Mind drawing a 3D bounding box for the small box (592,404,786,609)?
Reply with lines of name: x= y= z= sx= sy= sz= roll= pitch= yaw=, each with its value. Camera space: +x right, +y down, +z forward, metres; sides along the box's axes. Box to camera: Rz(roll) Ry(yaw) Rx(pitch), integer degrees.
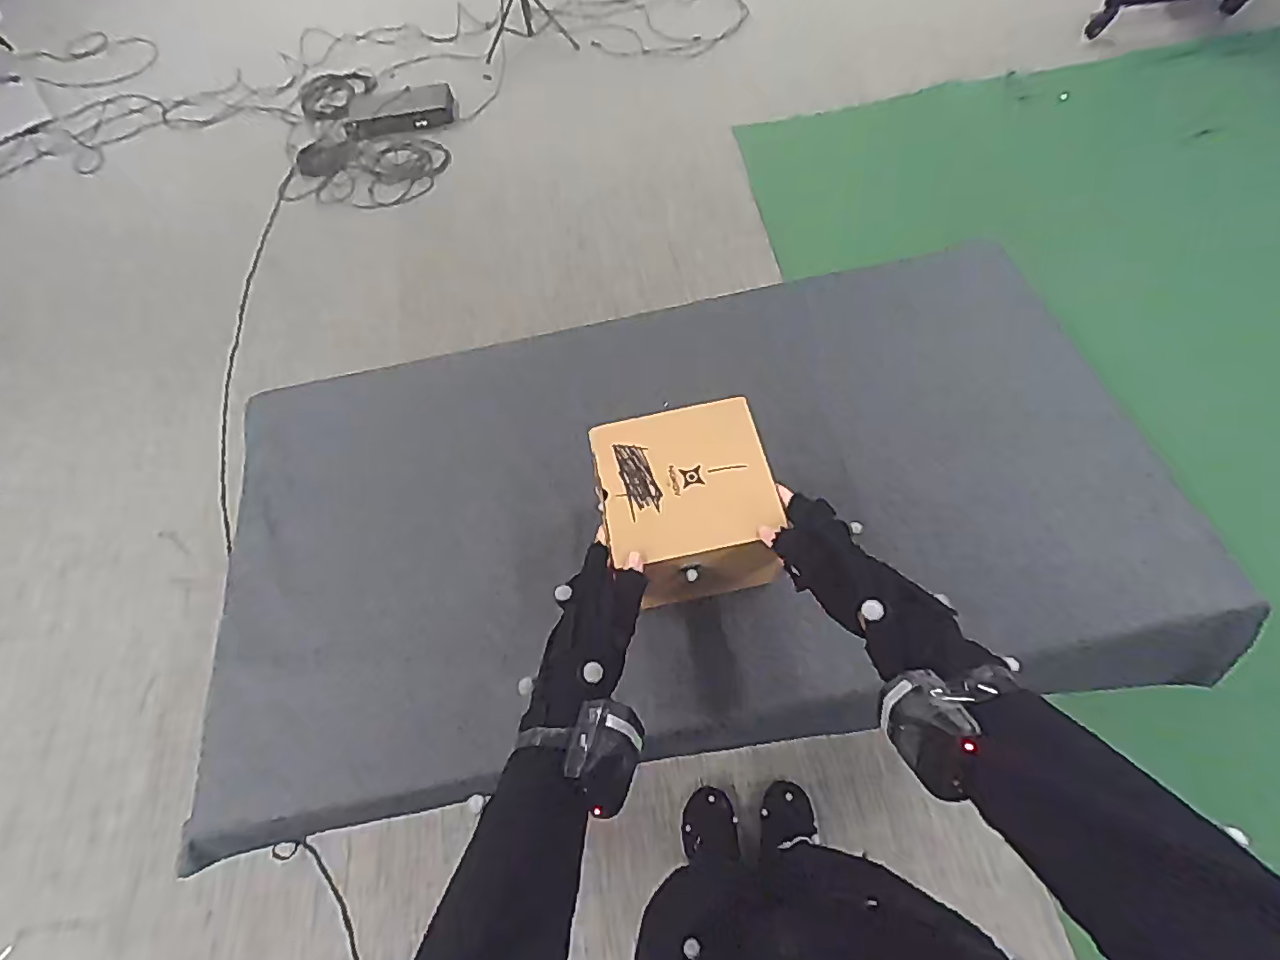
small box: x=0.053 y=0.040 z=0.632 sx=0.179 sy=0.176 sz=0.168 roll=-12 pitch=62 yaw=-1
